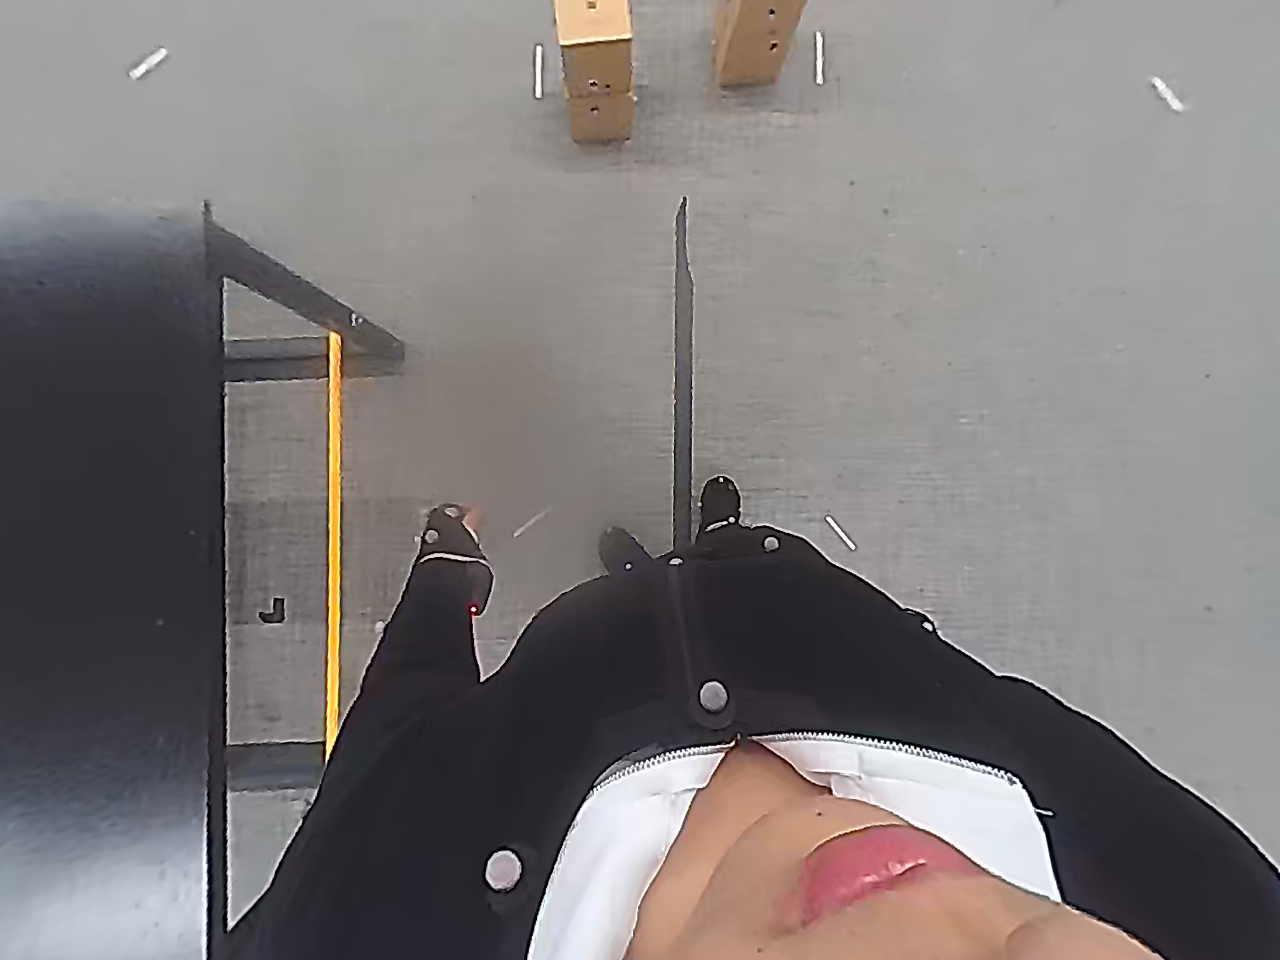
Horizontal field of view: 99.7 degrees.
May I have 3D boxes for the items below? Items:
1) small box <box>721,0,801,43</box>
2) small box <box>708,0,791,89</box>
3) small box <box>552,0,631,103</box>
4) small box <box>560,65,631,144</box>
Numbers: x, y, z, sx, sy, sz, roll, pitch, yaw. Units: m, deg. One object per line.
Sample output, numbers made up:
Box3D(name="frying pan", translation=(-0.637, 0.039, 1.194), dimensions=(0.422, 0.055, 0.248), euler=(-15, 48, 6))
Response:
Box3D(name="small box", translation=(0.294, -1.199, 1.303), dimensions=(0.168, 0.176, 0.179), euler=(-8, 90, -2))
Box3D(name="small box", translation=(0.292, -1.203, 1.467), dimensions=(0.179, 0.176, 0.168), euler=(-7, 89, -1))
Box3D(name="small box", translation=(-0.113, -1.050, 1.290), dimensions=(0.168, 0.176, 0.179), euler=(-7, 90, 0))
Box3D(name="small box", translation=(-0.116, -1.035, 1.452), dimensions=(0.179, 0.176, 0.168), euler=(-4, 89, -2))
